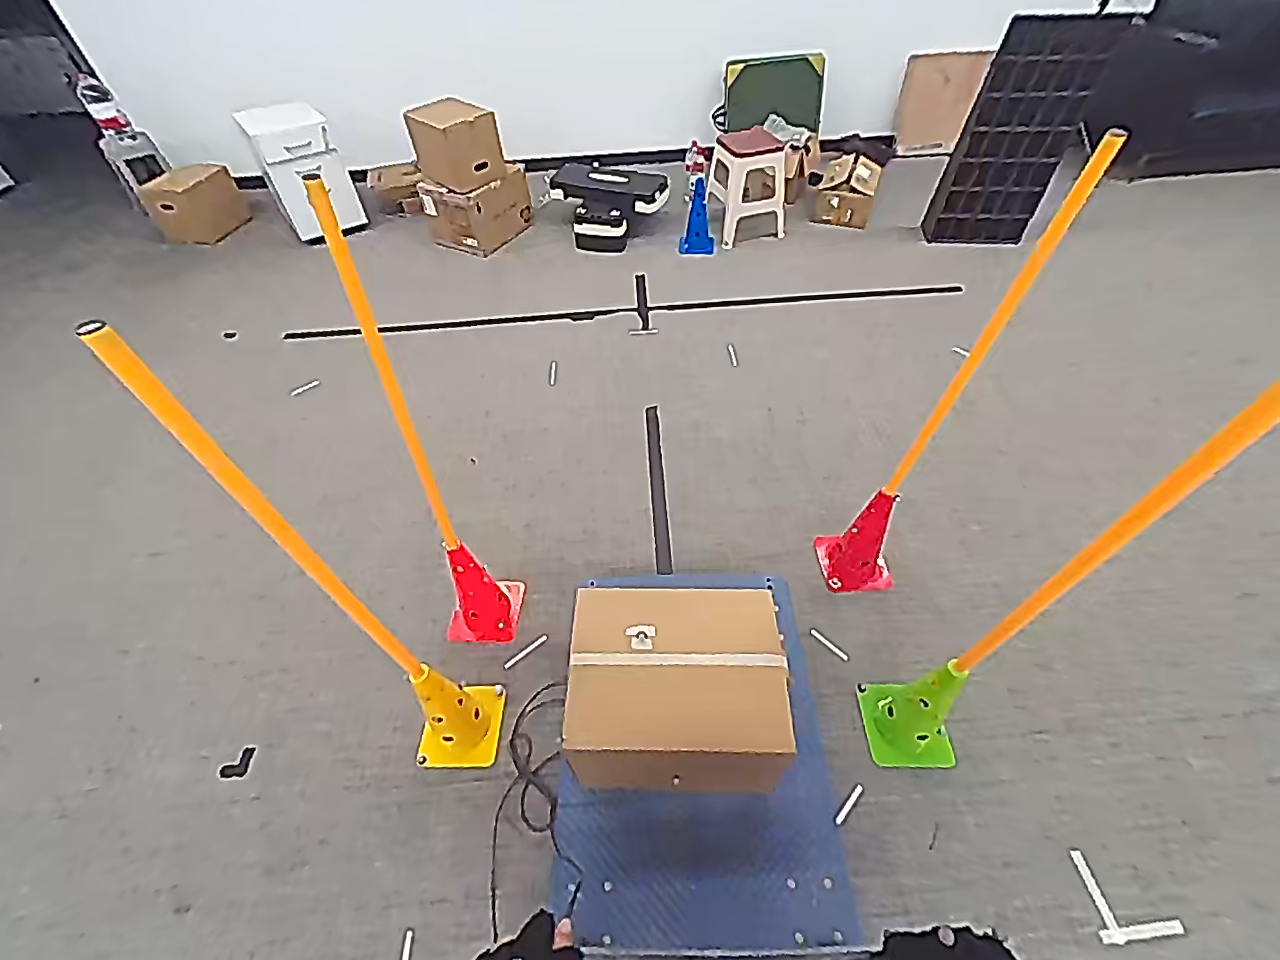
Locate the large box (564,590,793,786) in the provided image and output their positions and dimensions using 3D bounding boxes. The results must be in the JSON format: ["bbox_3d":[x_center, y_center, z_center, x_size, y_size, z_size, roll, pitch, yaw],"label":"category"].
[{"bbox_3d":[0.075,0.446,1.141,0.408,0.320,0.320,-1,49,3],"label":"large box"}]

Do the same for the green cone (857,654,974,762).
[{"bbox_3d":[0.670,0.499,1.249,0.202,0.368,0.200,-1,49,1],"label":"green cone"}]

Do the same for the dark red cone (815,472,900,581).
[{"bbox_3d":[0.661,0.121,1.555,0.201,0.394,0.202,-3,49,-2],"label":"dark red cone"}]

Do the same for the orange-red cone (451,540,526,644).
[{"bbox_3d":[-0.460,0.283,1.507,0.198,0.360,0.199,2,48,4],"label":"orange-red cone"}]
